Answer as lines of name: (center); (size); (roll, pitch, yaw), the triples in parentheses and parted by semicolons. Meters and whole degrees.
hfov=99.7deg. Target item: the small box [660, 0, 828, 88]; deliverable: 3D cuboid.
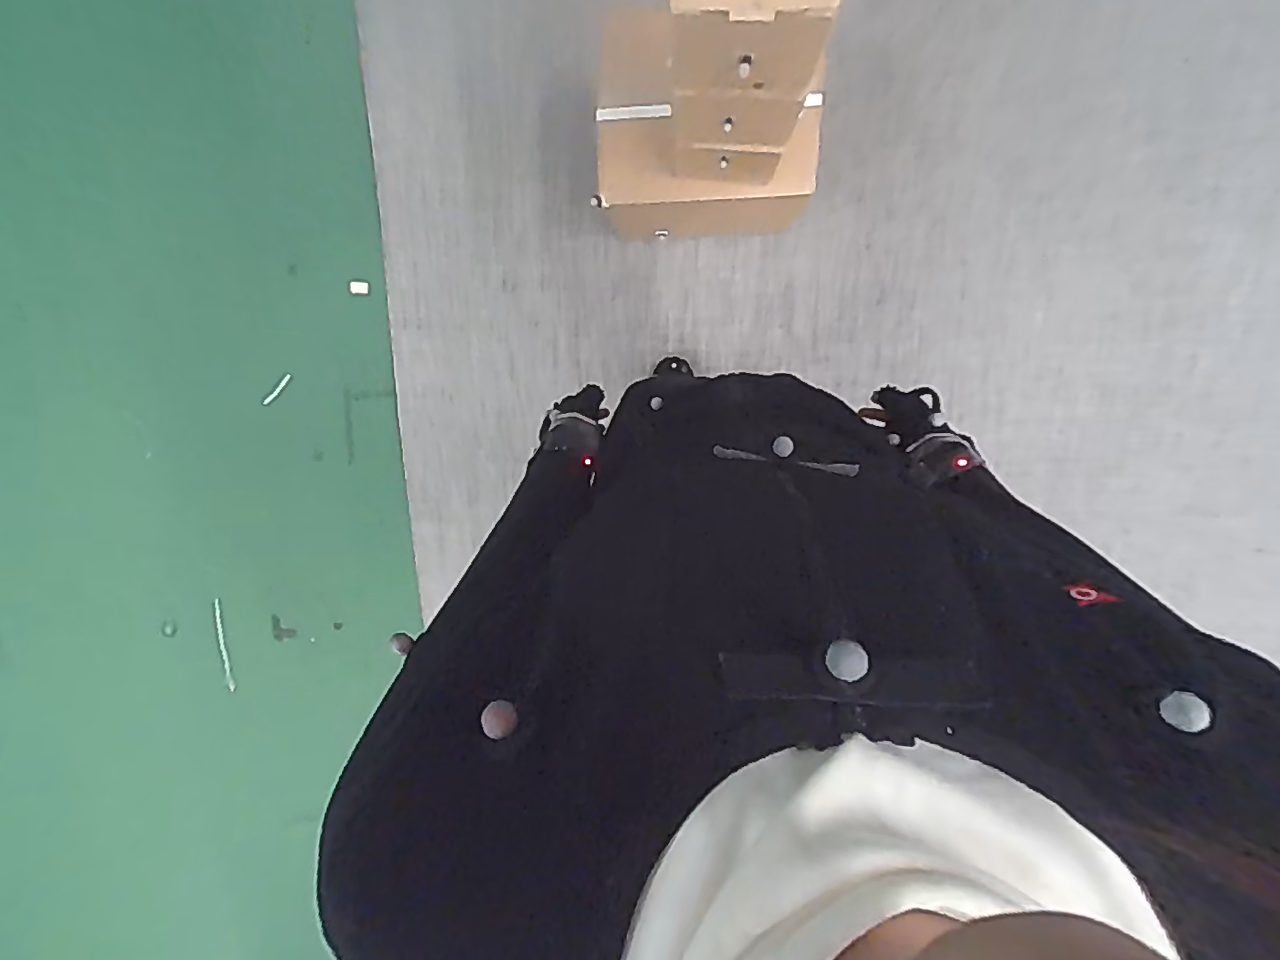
small box: (0.116, -0.557, 0.585); (0.168, 0.176, 0.179); (6, 105, 4)

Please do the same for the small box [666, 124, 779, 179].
small box: (0.141, -0.621, 0.905); (0.179, 0.176, 0.168); (6, 105, 3)

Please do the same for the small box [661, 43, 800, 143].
small box: (0.128, -0.587, 0.746); (0.179, 0.176, 0.168); (6, 104, 6)
